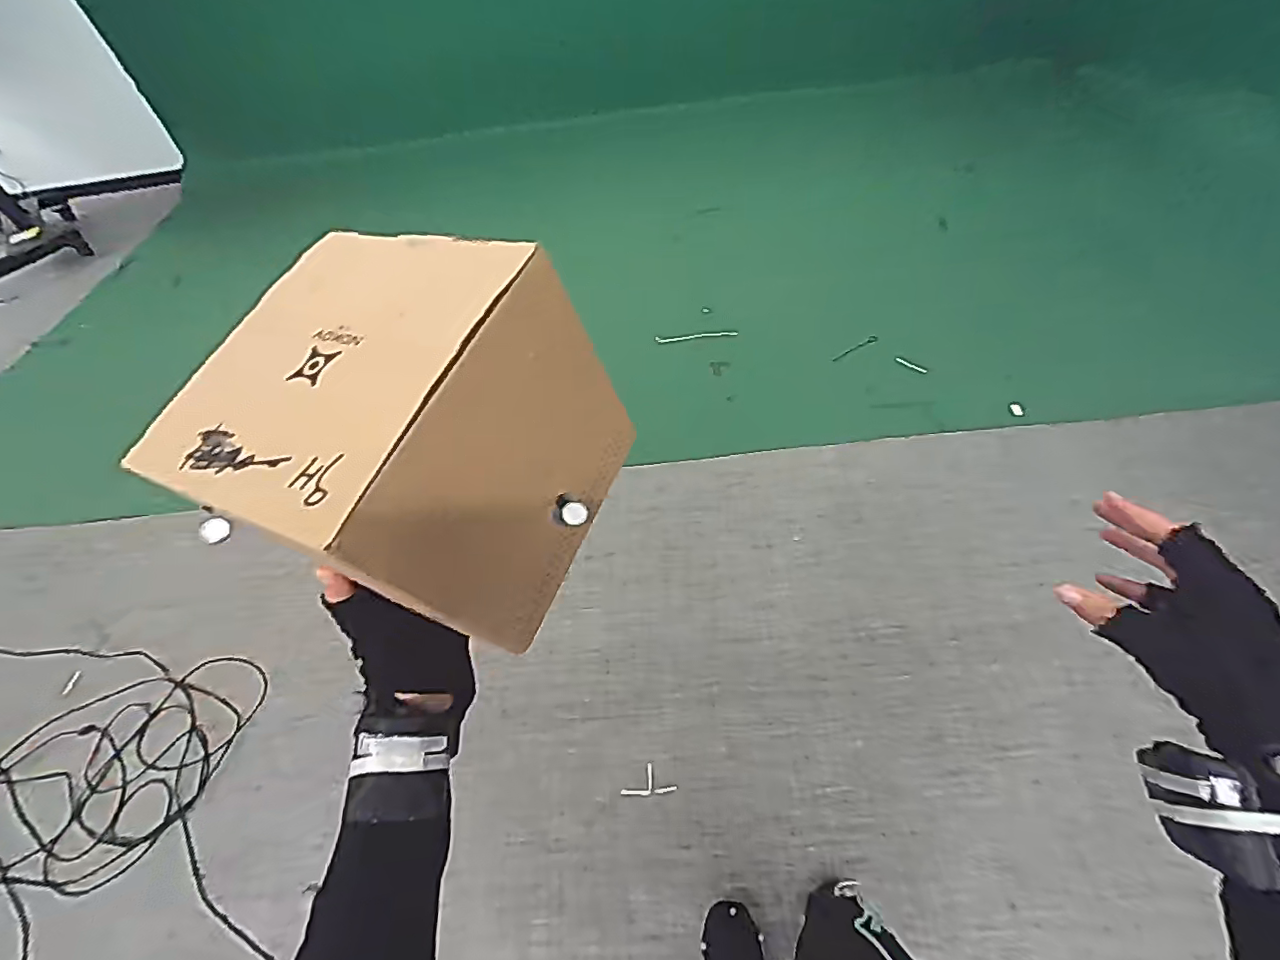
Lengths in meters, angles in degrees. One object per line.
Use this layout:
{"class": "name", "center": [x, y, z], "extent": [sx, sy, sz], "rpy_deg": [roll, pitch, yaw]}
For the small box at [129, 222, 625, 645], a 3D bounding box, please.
{"class": "small box", "center": [-0.125, -0.026, 0.329], "extent": [0.168, 0.176, 0.179], "rpy_deg": [15, 65, 26]}
